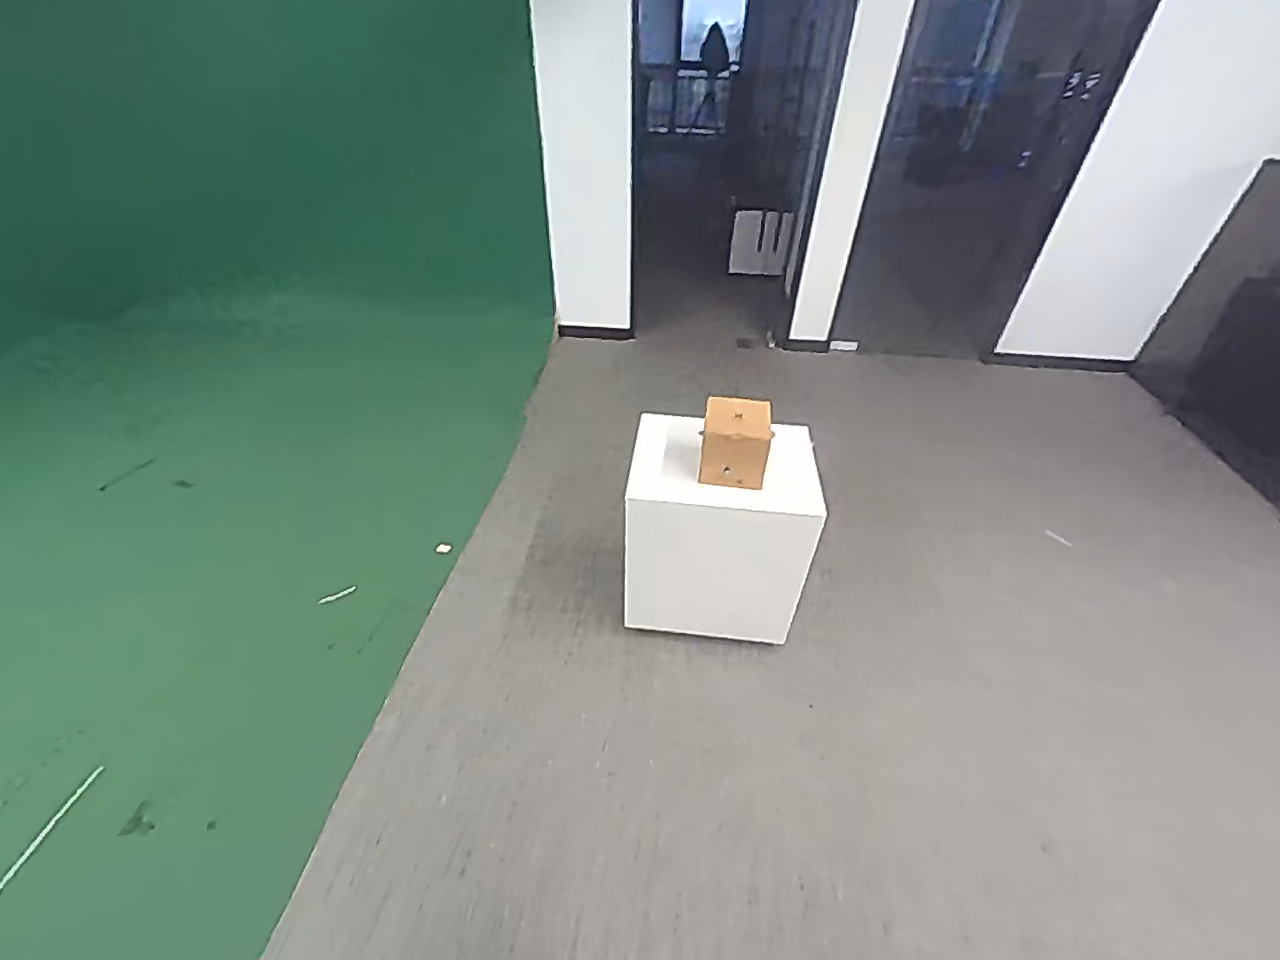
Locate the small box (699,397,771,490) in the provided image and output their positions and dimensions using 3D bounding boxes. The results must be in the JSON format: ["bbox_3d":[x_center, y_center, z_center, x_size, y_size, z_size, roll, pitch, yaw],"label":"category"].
[{"bbox_3d":[0.246,-0.098,1.427,0.168,0.176,0.179,6,40,5],"label":"small box"}]
